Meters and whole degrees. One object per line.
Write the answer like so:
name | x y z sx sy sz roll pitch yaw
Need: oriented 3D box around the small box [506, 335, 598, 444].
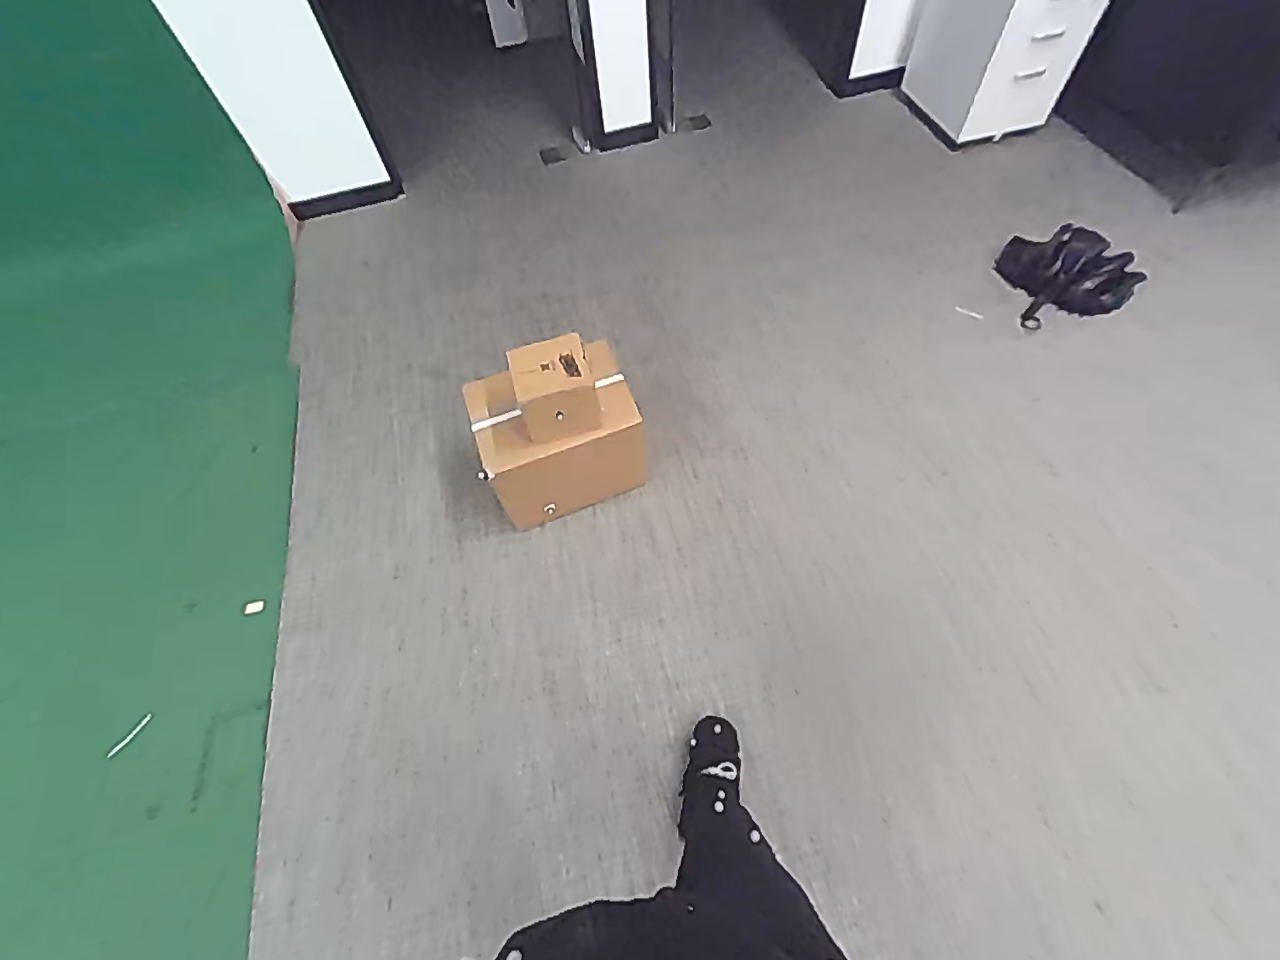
small box | -0.203 -0.211 1.289 0.179 0.176 0.168 -16 60 -4
